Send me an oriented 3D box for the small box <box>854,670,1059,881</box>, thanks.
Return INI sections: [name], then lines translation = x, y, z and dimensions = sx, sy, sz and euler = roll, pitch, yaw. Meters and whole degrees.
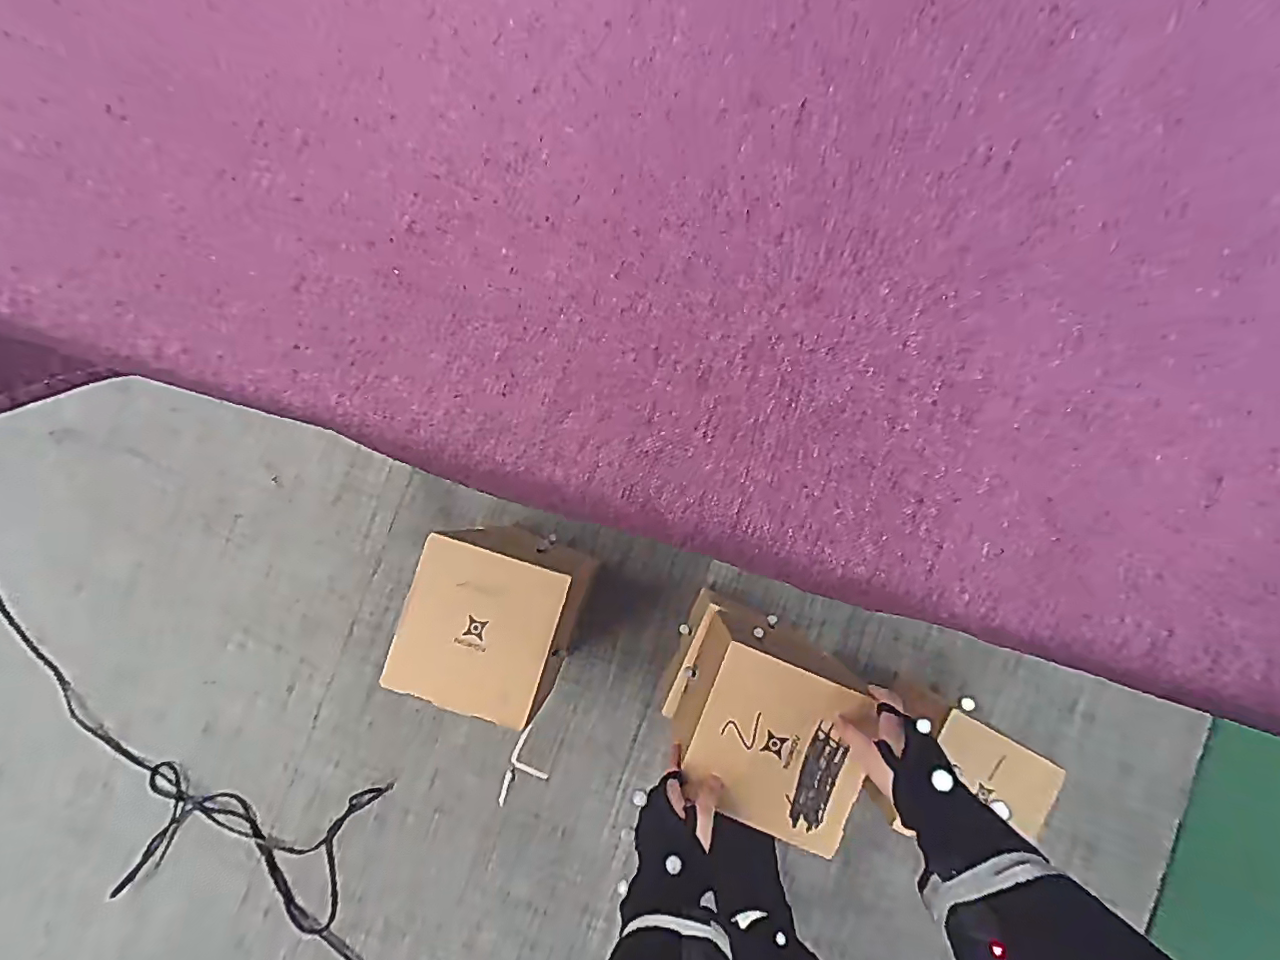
[small box]
translation = 0.436, 0.408, 0.781
dimensions = 0.168, 0.176, 0.179
euler = 28, 87, 4
